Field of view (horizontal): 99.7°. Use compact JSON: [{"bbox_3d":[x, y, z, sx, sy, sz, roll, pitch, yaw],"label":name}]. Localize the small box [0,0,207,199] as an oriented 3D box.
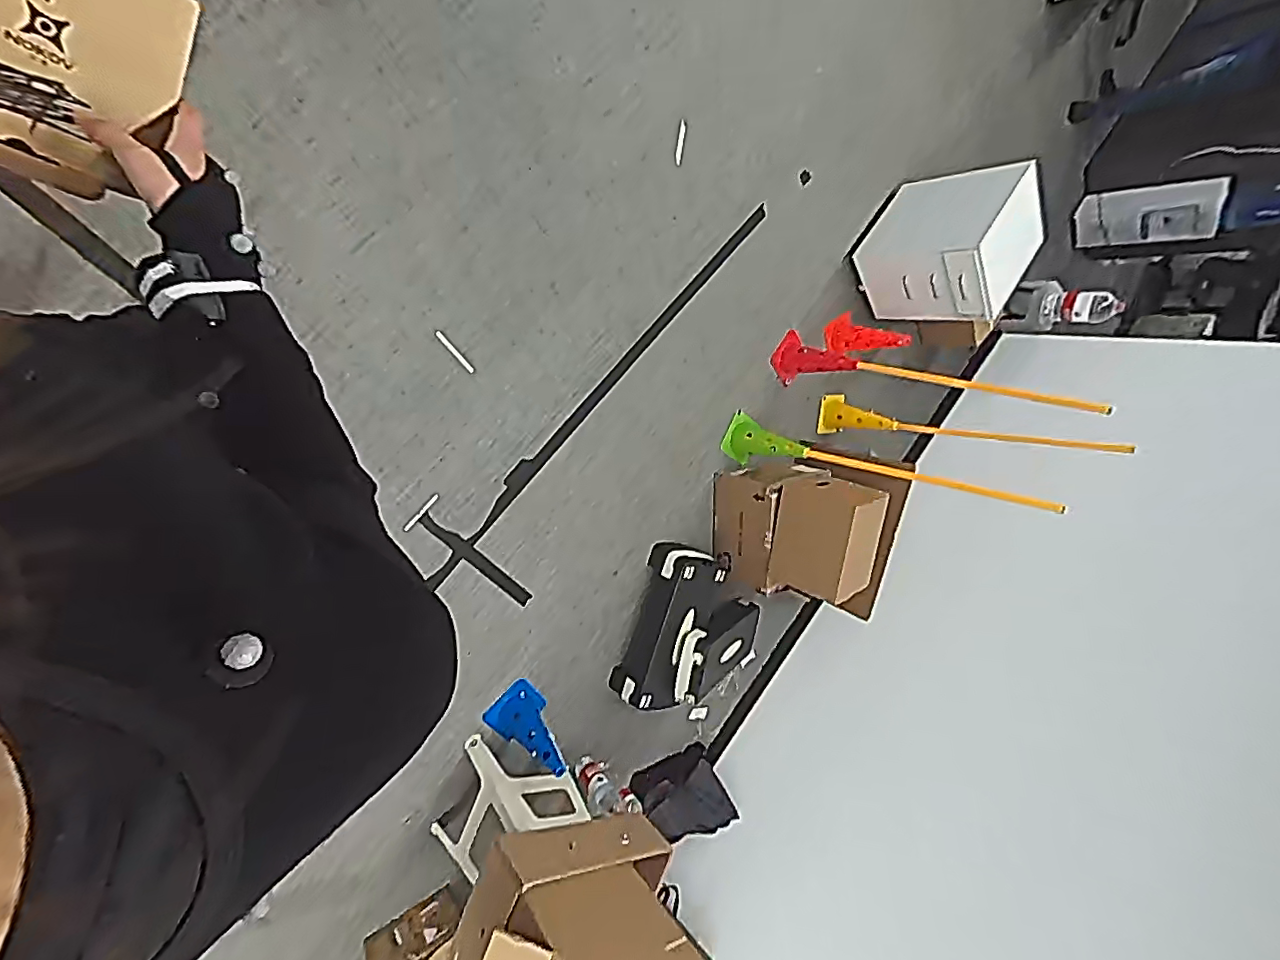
[{"bbox_3d":[-0.511,-0.374,0.469,0.168,0.176,0.179,11,104,-50],"label":"small box"}]
